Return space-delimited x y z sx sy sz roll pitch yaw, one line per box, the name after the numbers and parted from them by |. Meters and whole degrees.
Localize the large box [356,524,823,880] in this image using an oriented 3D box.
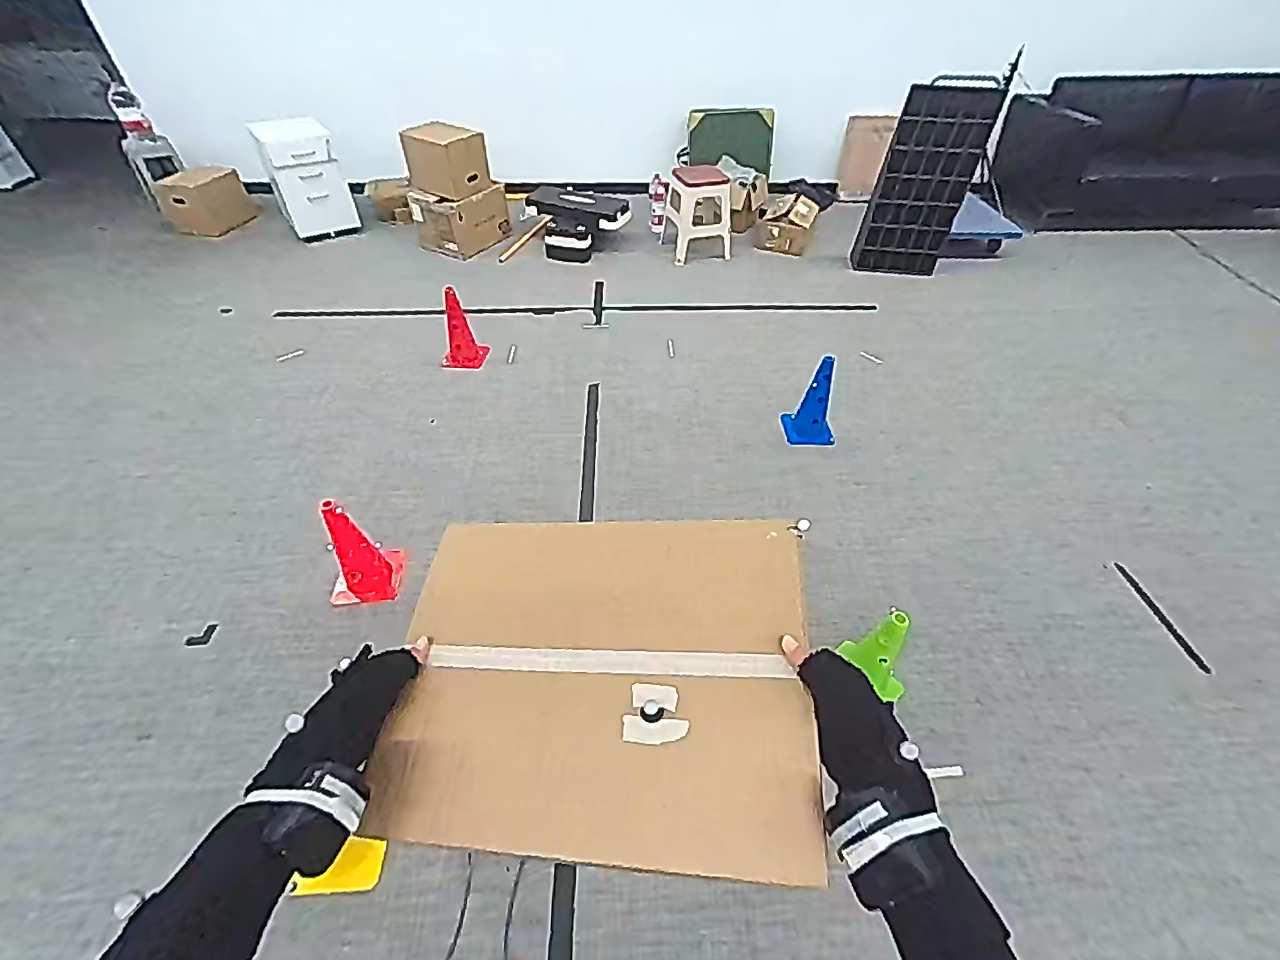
-0.022 0.265 0.644 0.408 0.320 0.320 -1 53 11 | large box

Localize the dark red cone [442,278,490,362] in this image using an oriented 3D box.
-0.847 -0.754 2.541 0.201 0.394 0.202 4 46 1 | dark red cone

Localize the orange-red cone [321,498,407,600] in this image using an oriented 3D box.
-0.875 0.186 1.643 0.198 0.360 0.199 -3 47 -3 | orange-red cone

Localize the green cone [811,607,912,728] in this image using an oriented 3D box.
0.622 0.450 1.411 0.202 0.368 0.200 -29 53 -28 | green cone

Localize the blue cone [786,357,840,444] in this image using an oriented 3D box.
0.738 -0.336 2.216 0.192 0.380 0.193 2 45 0 | blue cone
